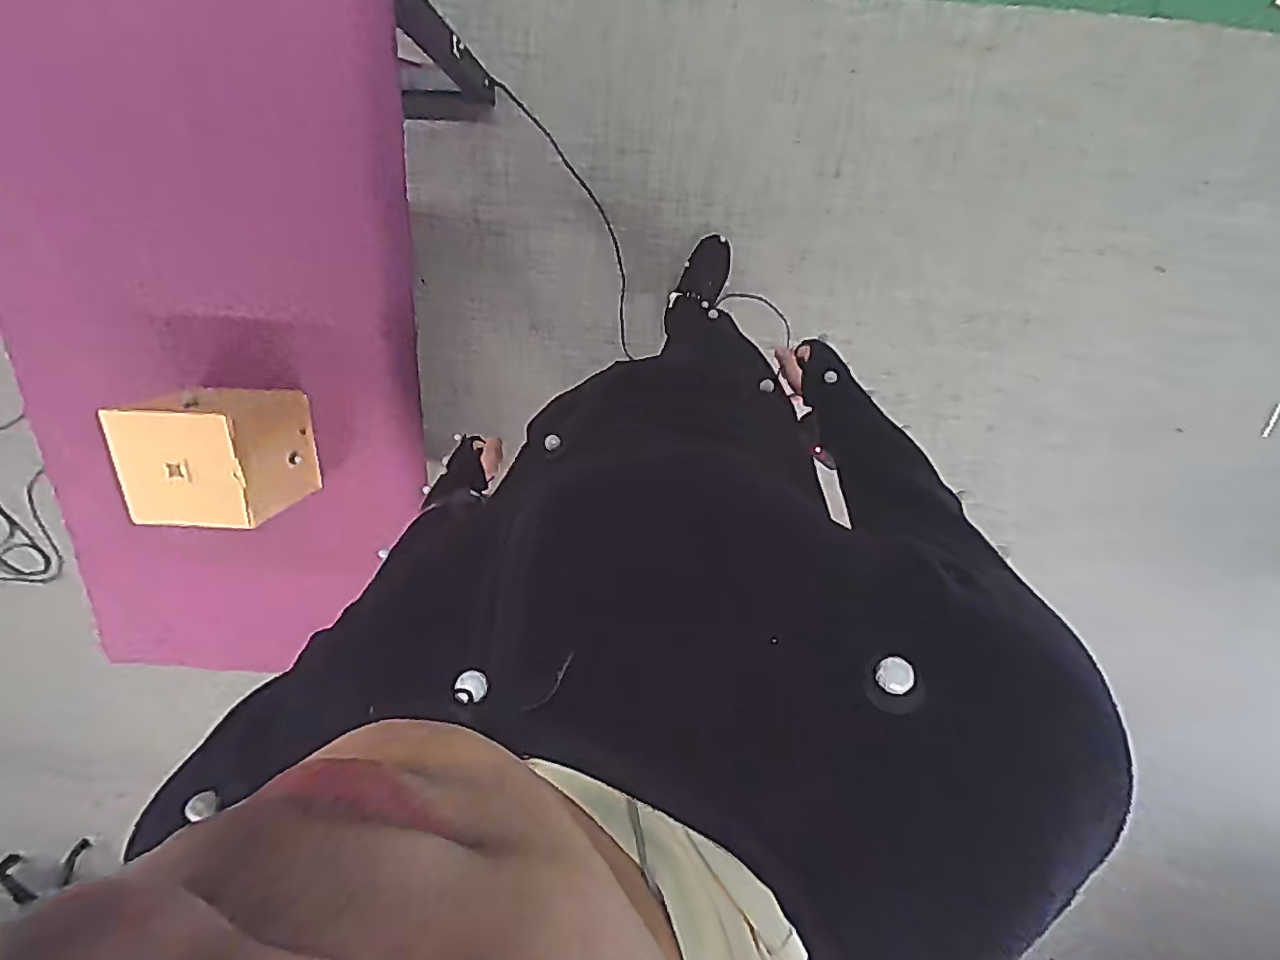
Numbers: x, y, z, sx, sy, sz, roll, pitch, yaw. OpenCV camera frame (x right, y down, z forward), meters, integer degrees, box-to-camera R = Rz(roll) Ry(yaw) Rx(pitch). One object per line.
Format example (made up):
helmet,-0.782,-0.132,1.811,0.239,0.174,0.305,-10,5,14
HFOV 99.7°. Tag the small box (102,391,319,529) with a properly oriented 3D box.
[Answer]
small box,-0.625,-0.037,0.812,0.179,0.176,0.168,2,109,0
